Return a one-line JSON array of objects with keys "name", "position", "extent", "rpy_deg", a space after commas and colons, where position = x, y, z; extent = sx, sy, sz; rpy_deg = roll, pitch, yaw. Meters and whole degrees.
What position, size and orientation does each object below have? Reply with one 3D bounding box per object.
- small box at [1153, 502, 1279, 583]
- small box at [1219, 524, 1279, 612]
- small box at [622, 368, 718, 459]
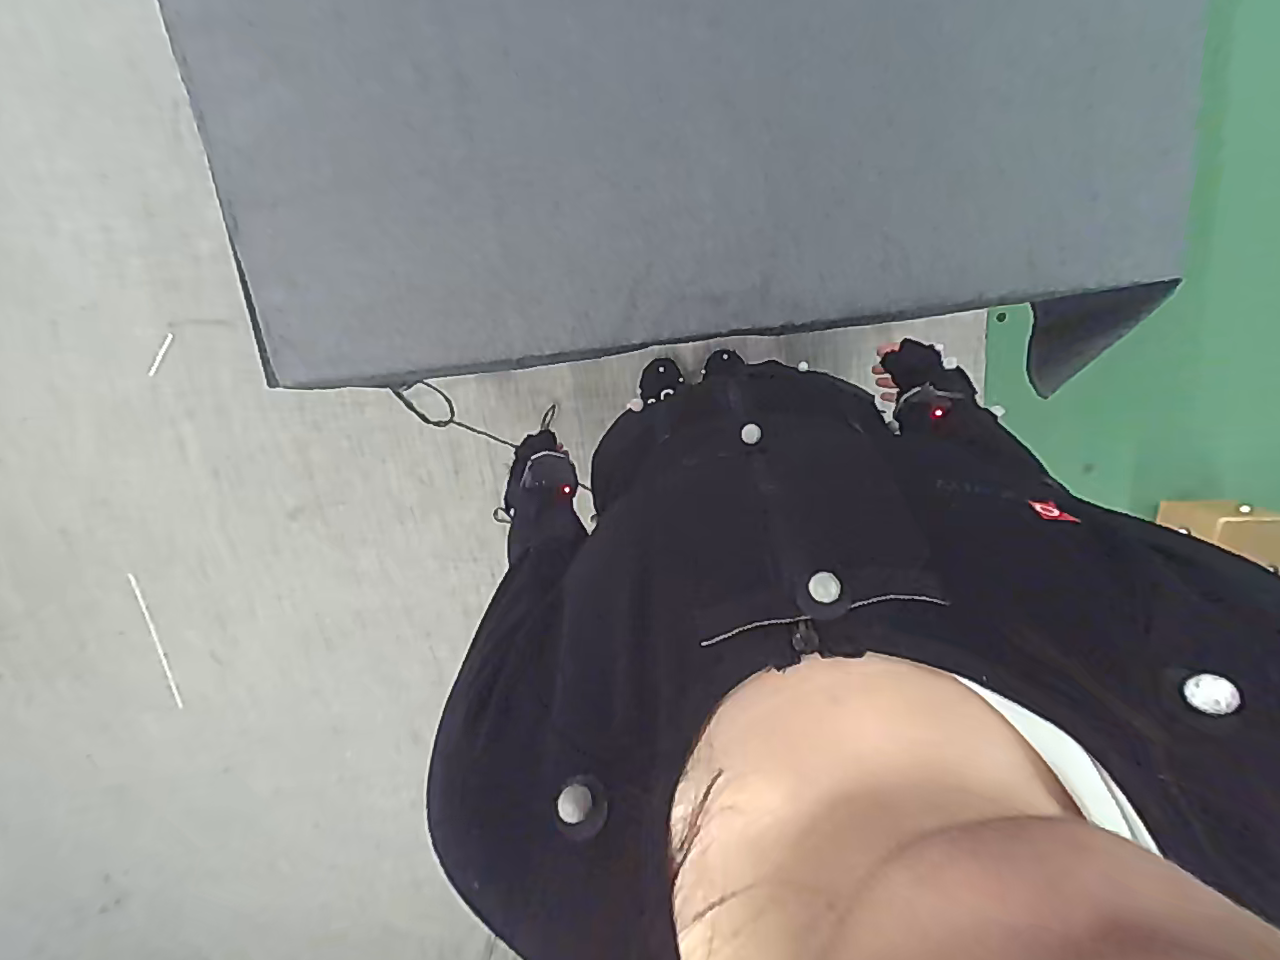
[{"name": "small box", "position": [1.474, 0.156, 1.376], "extent": [0.179, 0.176, 0.168], "rpy_deg": [-1, 102, 3]}, {"name": "small box", "position": [1.477, 0.200, 1.216], "extent": [0.168, 0.176, 0.179], "rpy_deg": [-2, 102, 3]}, {"name": "small box", "position": [0.073, -0.175, 1.394], "extent": [0.179, 0.176, 0.168], "rpy_deg": [35, 114, 13]}]
